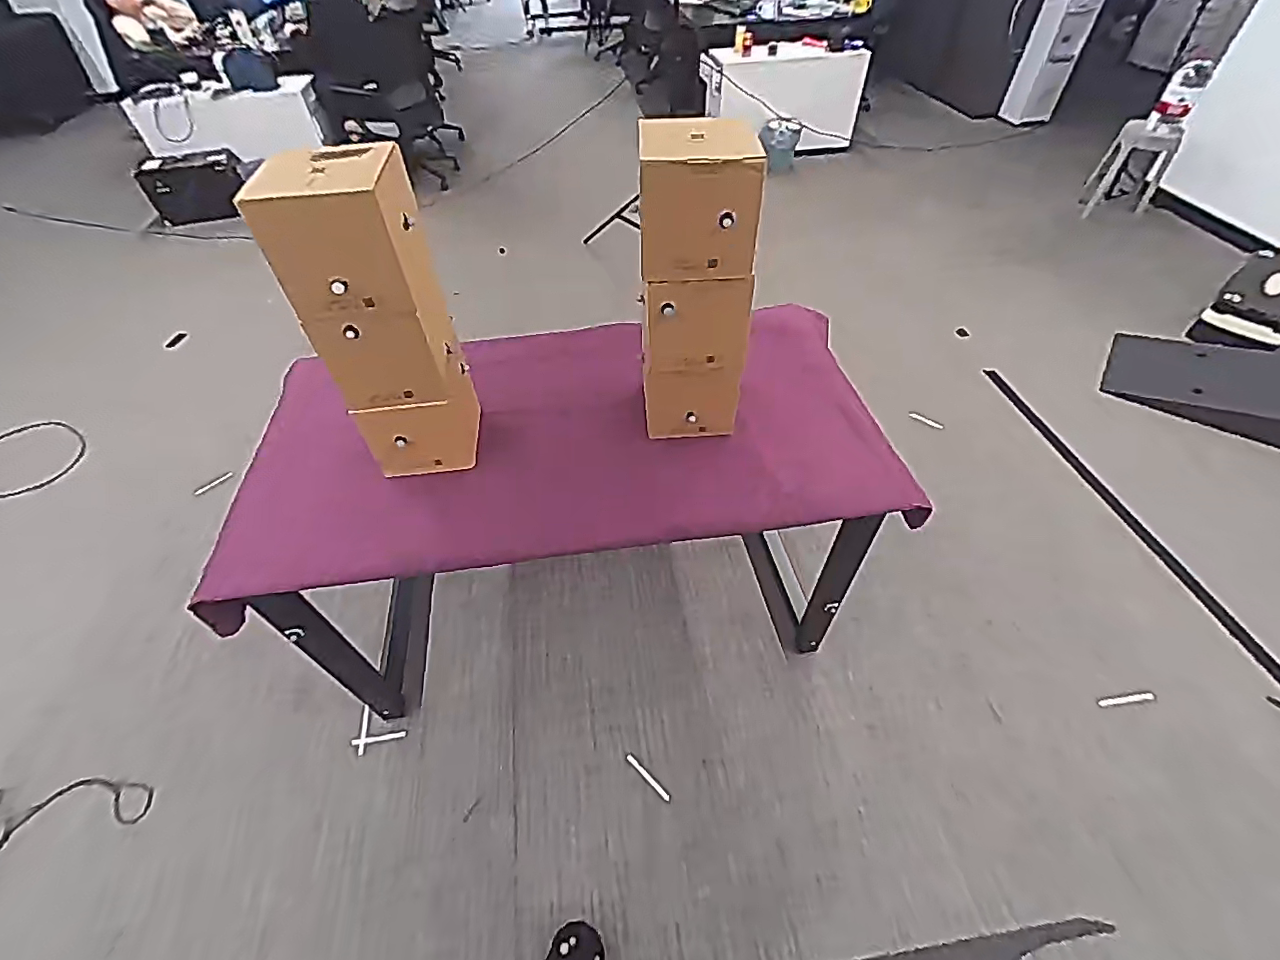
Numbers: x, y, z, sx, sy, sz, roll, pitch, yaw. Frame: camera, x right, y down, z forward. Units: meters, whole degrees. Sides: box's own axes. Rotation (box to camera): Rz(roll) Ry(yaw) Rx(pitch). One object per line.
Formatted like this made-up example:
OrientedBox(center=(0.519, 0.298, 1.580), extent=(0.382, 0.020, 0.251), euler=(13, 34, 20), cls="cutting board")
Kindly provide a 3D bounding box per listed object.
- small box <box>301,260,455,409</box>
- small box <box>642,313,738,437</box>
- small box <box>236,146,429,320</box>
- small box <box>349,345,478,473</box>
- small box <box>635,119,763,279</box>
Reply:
OrientedBox(center=(-0.411, -0.239, 0.886), extent=(0.168, 0.176, 0.179), euler=(-7, 48, -4), cls="small box")
OrientedBox(center=(0.089, -0.203, 1.056), extent=(0.168, 0.176, 0.179), euler=(-4, 49, -1), cls="small box")
OrientedBox(center=(-0.410, -0.347, 0.762), extent=(0.168, 0.176, 0.179), euler=(-7, 49, -4), cls="small box")
OrientedBox(center=(-0.406, -0.126, 1.005), extent=(0.168, 0.176, 0.179), euler=(-7, 48, -4), cls="small box")
OrientedBox(center=(0.078, -0.414, 0.806), extent=(0.168, 0.176, 0.179), euler=(-2, 47, -1), cls="small box")
